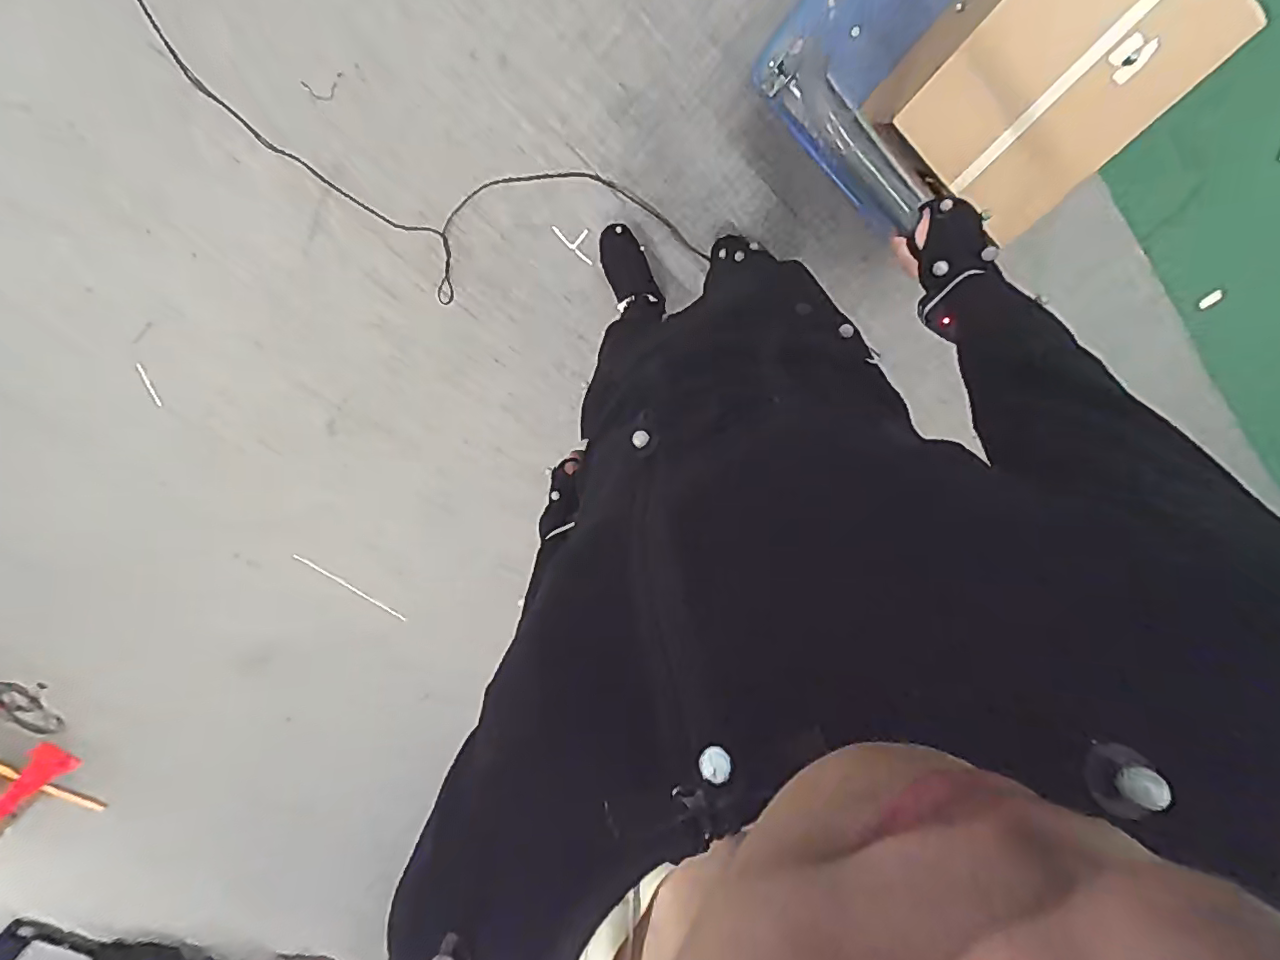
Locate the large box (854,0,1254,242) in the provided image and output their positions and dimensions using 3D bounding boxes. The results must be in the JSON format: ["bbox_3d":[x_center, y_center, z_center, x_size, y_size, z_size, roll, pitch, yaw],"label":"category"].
[{"bbox_3d":[0.669,-0.713,0.961,0.320,0.320,0.408,35,120,-17],"label":"large box"}]
